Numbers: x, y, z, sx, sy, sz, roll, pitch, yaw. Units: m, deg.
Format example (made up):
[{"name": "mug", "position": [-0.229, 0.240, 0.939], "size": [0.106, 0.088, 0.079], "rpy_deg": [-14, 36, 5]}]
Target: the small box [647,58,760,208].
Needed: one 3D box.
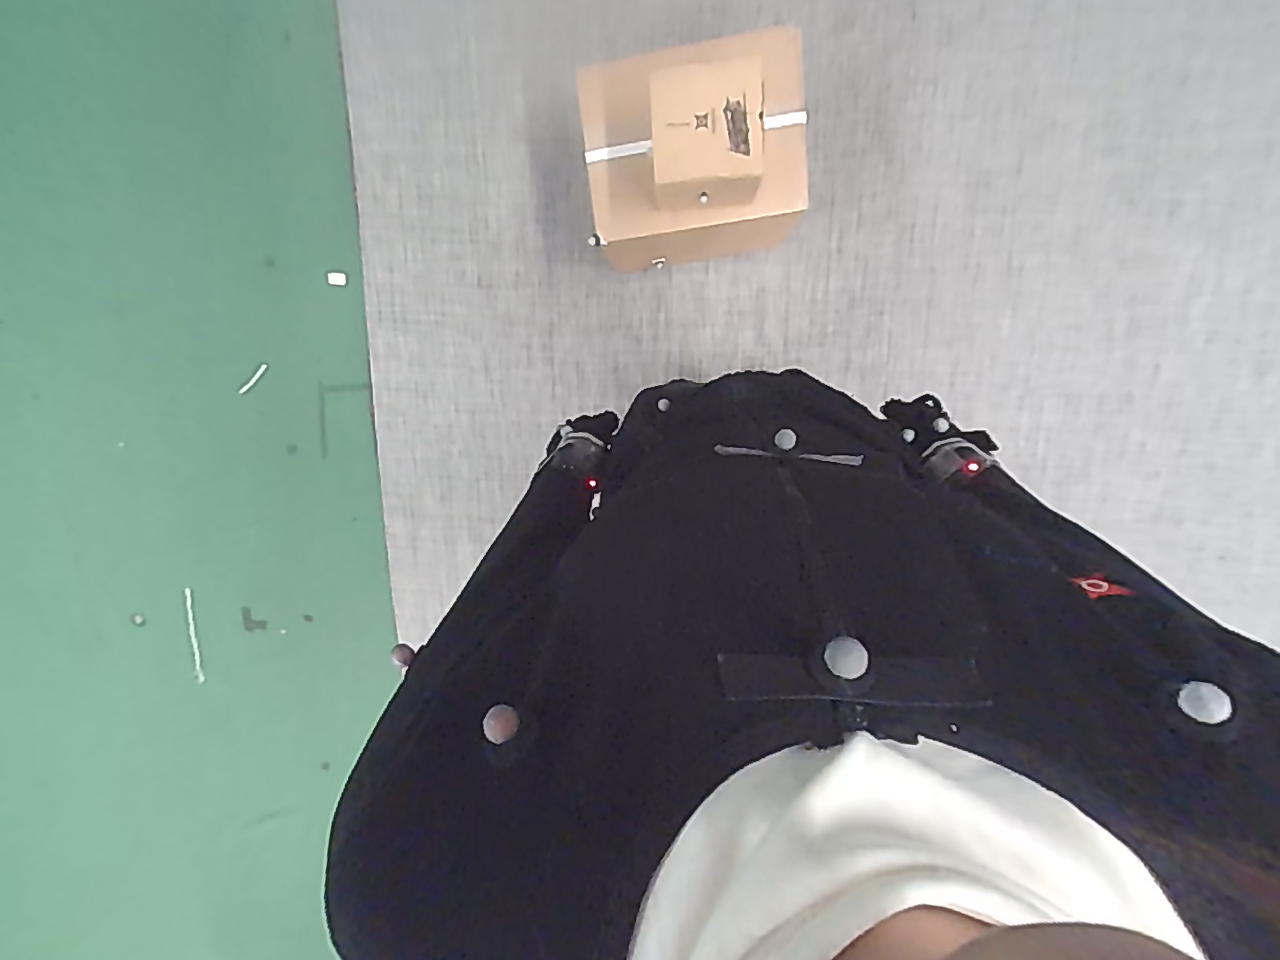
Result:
[{"name": "small box", "position": [0.108, -0.581, 0.928], "size": [0.179, 0.176, 0.168], "rpy_deg": [-2, 102, 7]}]
